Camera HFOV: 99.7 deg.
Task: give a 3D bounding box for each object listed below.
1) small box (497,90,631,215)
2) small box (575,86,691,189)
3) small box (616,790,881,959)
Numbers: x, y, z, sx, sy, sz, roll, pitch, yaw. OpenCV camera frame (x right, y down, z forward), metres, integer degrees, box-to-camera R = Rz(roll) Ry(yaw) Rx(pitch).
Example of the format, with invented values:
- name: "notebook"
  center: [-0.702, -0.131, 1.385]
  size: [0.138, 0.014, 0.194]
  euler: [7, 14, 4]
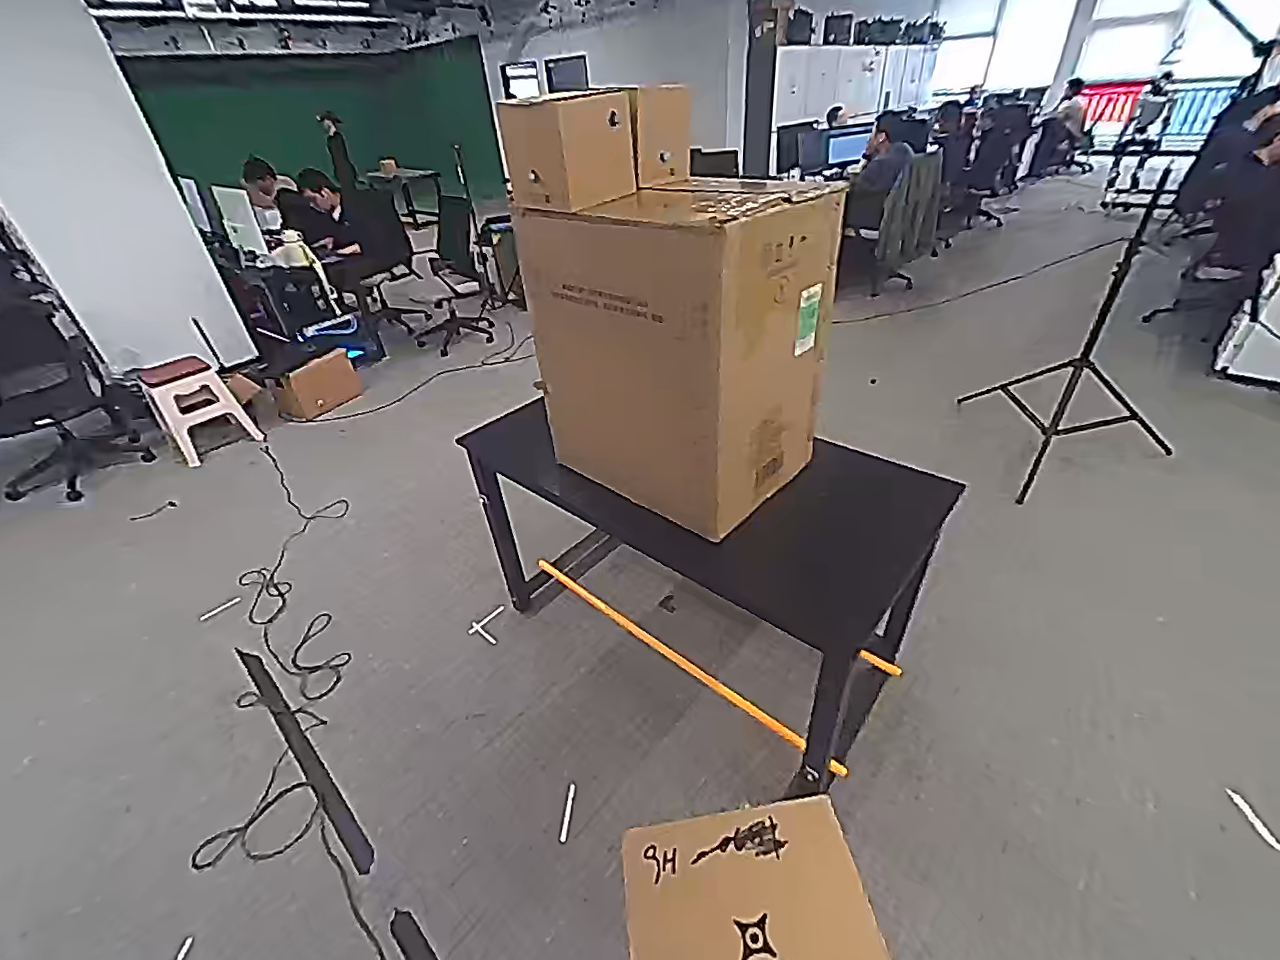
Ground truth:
- name: "small box"
  center: [-0.130, -0.604, 0.995]
  size: [0.168, 0.176, 0.179]
  euler: [25, 48, 35]
- name: "small box"
  center: [-0.013, -0.708, 1.120]
  size: [0.179, 0.176, 0.168]
  euler: [27, 45, 34]
- name: "small box"
  center: [0.081, 0.368, 0.400]
  size: [0.168, 0.176, 0.179]
  euler: [-10, 37, -2]
